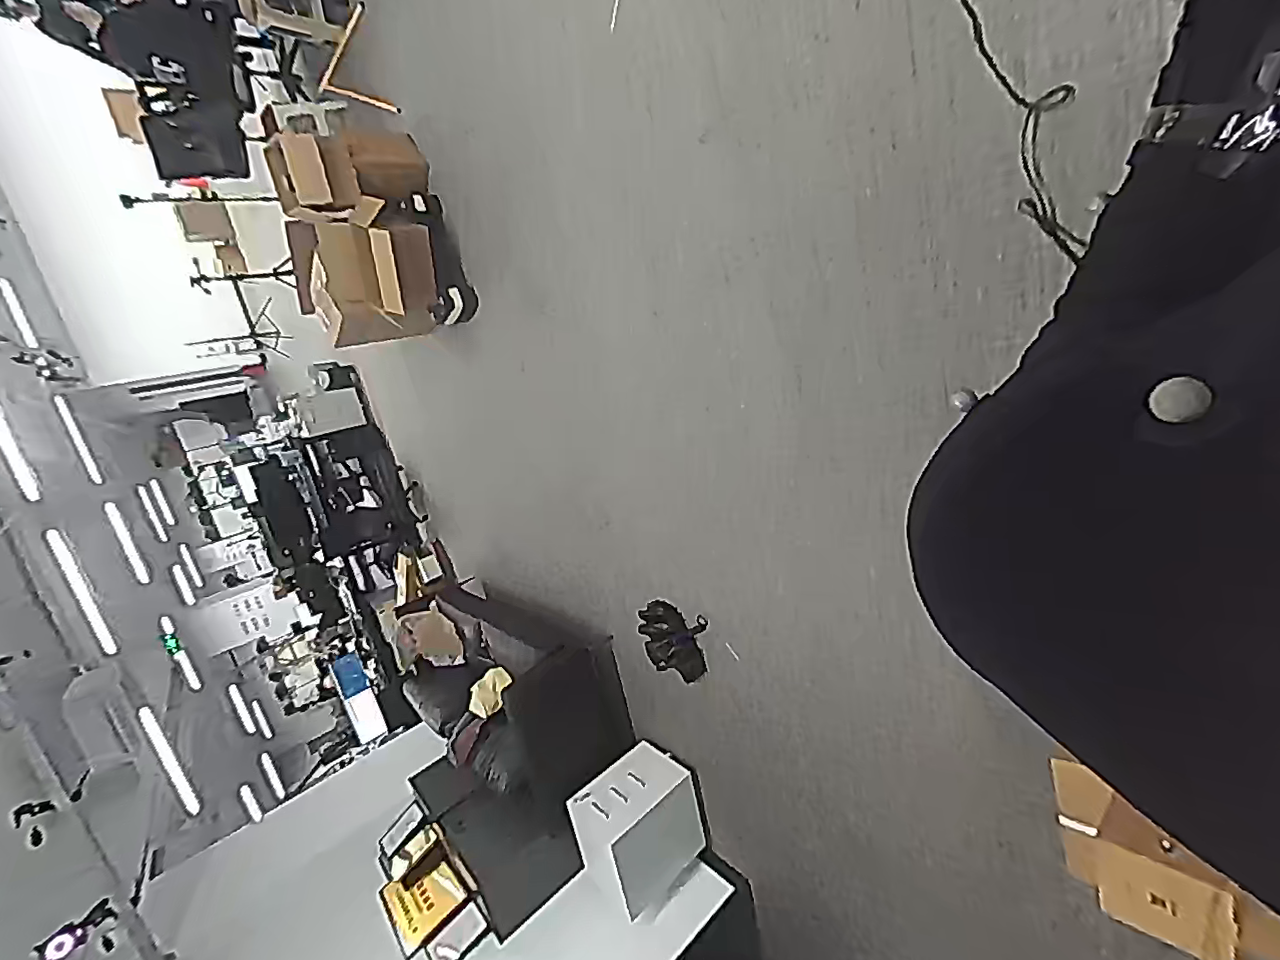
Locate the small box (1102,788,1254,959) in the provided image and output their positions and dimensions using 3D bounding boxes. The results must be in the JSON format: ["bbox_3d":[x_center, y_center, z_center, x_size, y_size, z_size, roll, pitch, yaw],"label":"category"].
[{"bbox_3d":[0.962,0.696,0.965,0.179,0.176,0.168,0,106,53],"label":"small box"}]
